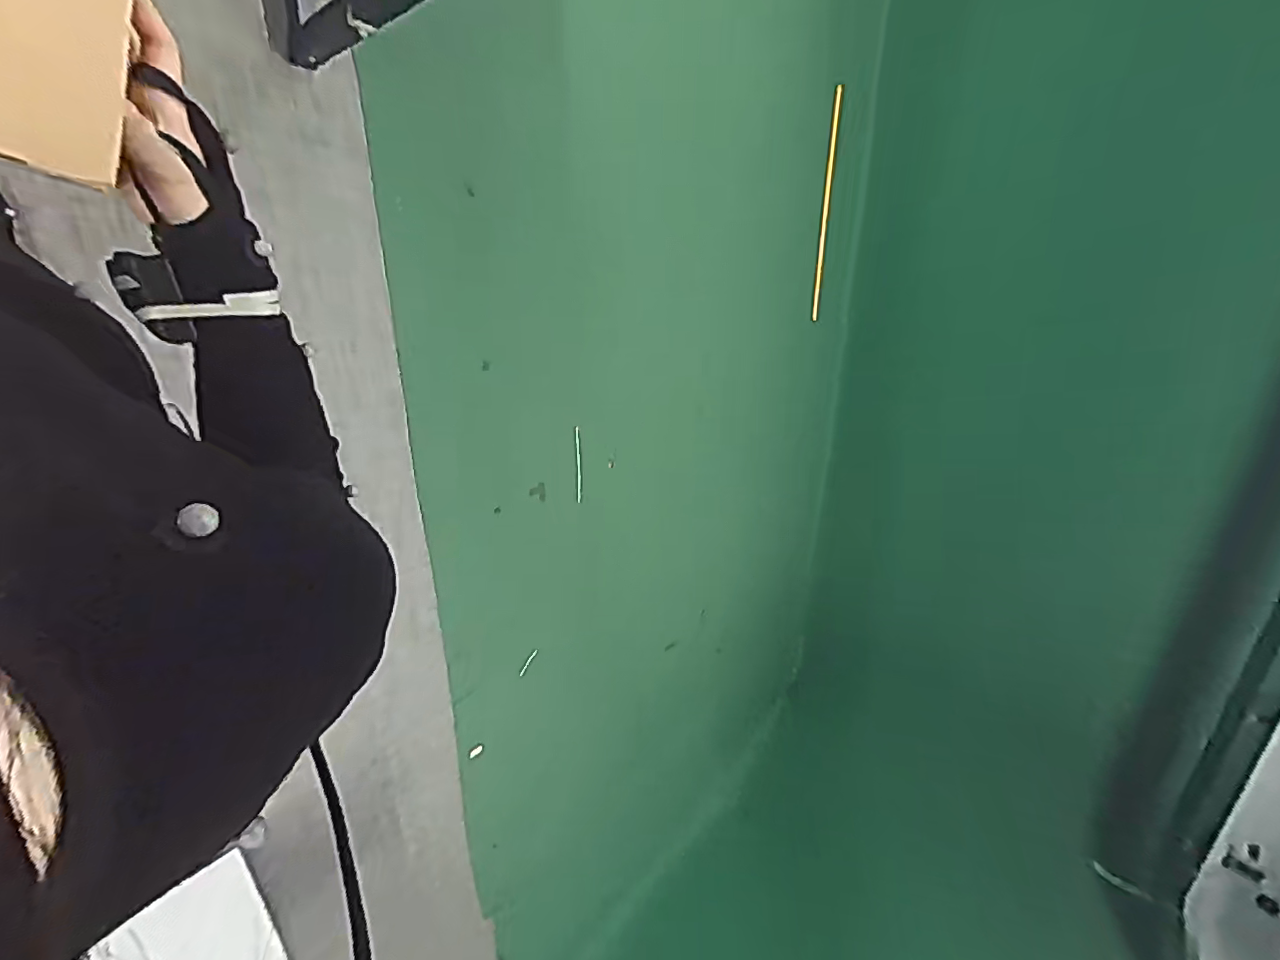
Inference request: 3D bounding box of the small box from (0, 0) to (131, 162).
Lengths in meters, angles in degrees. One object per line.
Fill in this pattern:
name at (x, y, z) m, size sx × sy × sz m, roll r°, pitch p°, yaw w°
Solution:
small box at (-0.345, -0.266, 0.226) m, size 0.168 × 0.176 × 0.179 m, roll 0°, pitch 111°, yaw -55°
